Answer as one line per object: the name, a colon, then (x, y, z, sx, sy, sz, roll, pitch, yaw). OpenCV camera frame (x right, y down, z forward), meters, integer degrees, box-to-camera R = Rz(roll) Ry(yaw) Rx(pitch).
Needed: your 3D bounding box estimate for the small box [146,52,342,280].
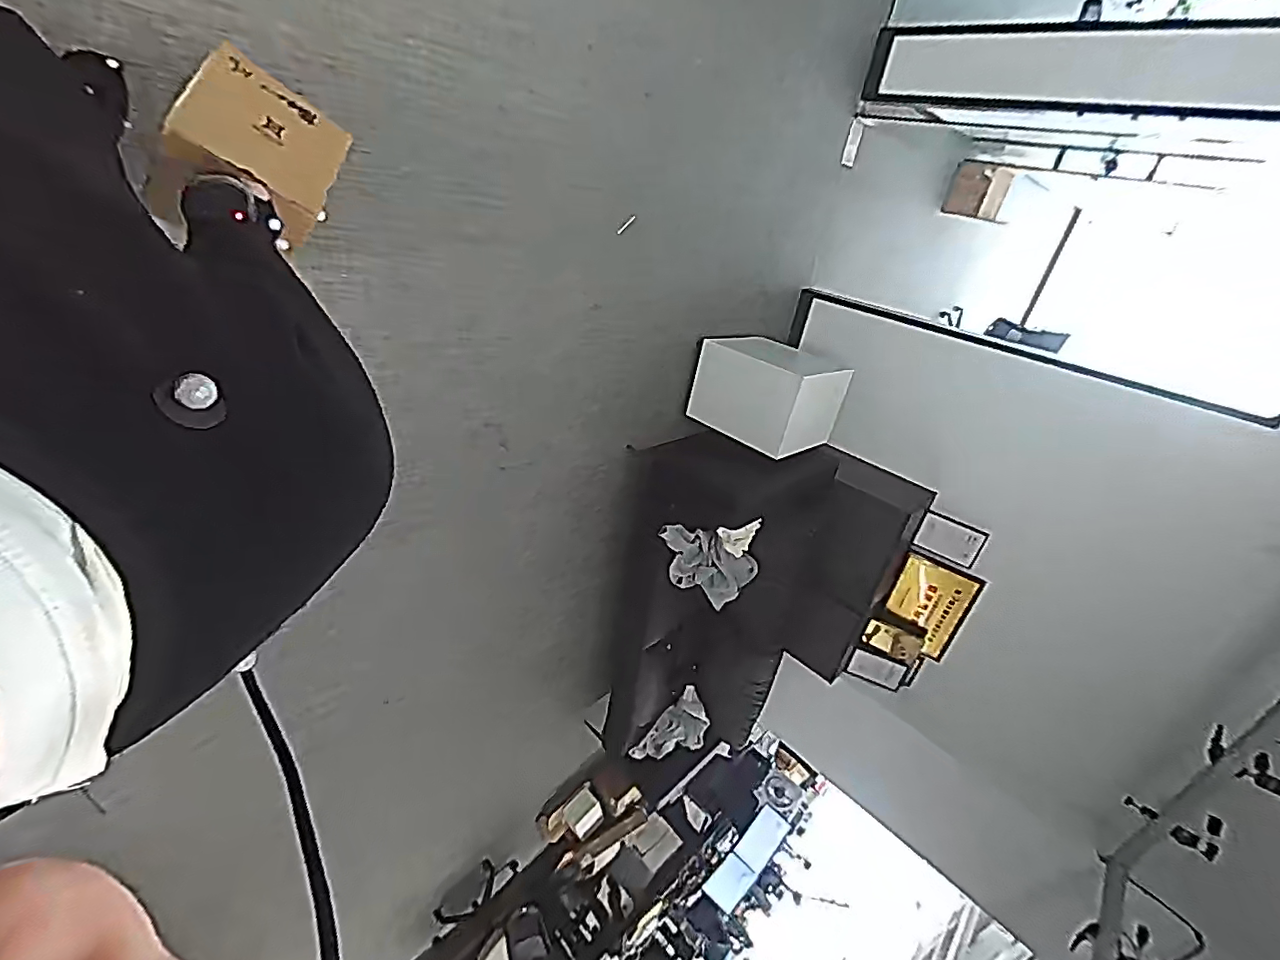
small box: (-0.547, -0.417, 0.749, 0.168, 0.176, 0.179, 24, 56, -41)
